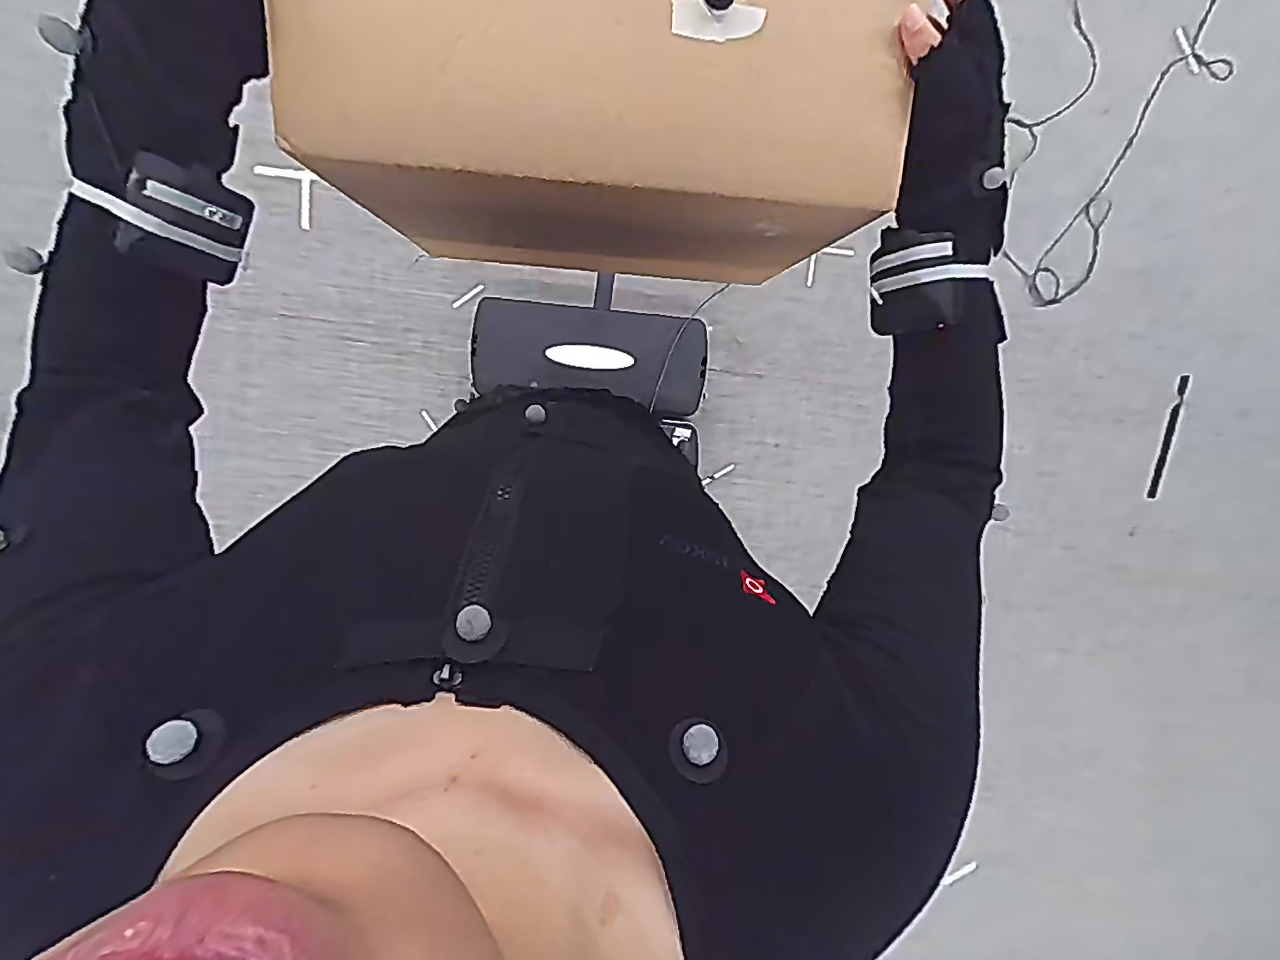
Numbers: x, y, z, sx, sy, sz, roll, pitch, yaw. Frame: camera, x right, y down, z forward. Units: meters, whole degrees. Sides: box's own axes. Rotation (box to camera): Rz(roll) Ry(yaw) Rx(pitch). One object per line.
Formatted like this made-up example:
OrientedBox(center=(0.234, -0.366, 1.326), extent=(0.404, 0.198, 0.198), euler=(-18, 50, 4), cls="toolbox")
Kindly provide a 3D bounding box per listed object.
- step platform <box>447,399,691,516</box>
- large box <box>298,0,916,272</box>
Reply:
OrientedBox(center=(-0.195, -0.066, 1.558), extent=(0.684, 0.204, 0.286), euler=(5, 97, -2), cls="step platform")
OrientedBox(center=(-0.025, -0.384, 0.484), extent=(0.408, 0.320, 0.320), euler=(2, 101, -5), cls="large box")
